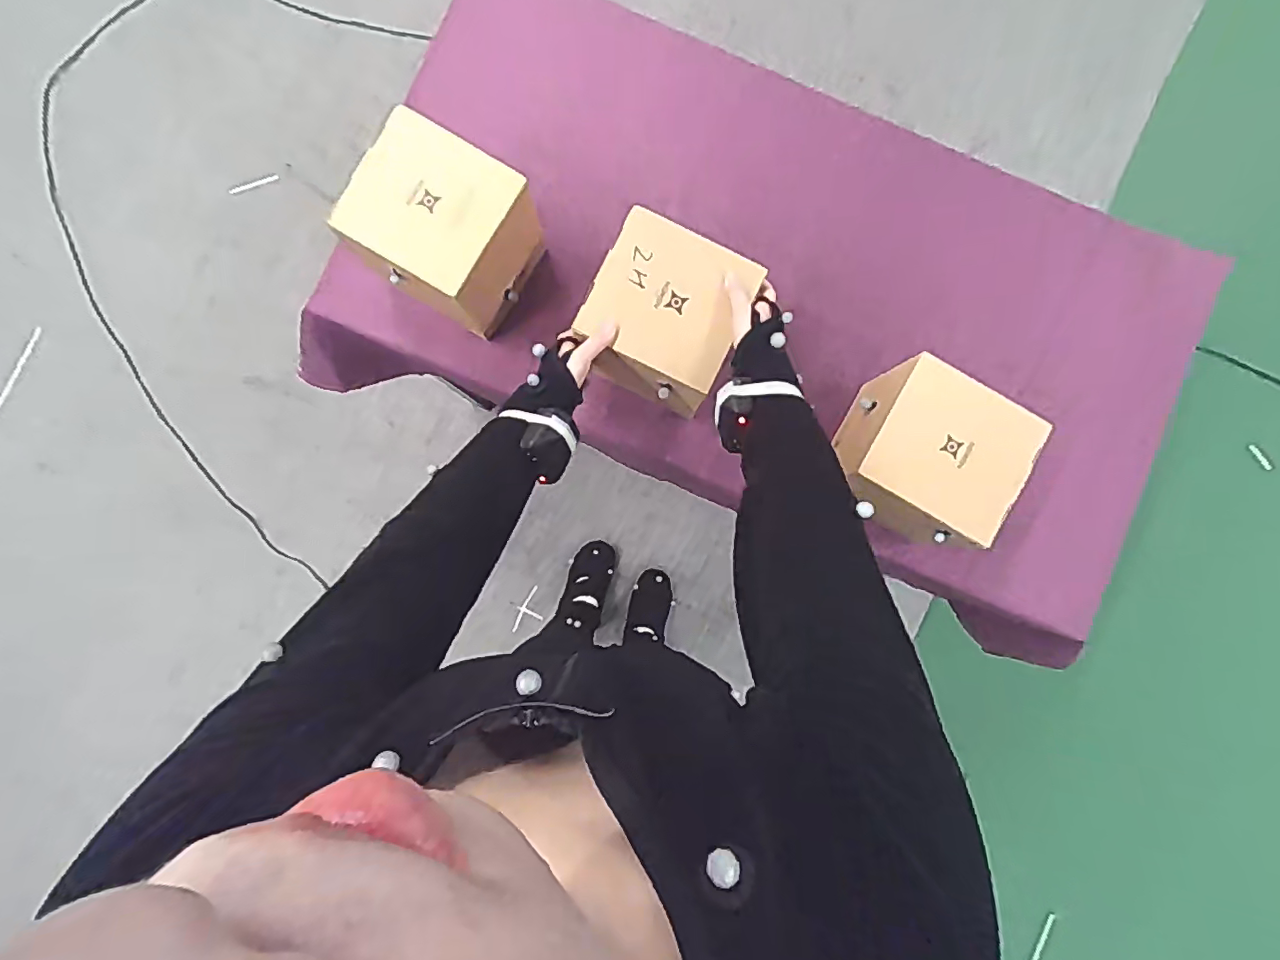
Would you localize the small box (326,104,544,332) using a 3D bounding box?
[{"bbox_3d":[-0.247,-0.318,0.698,0.179,0.176,0.168,31,87,0],"label":"small box"}]

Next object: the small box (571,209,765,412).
[{"bbox_3d":[0.031,-0.201,0.700,0.179,0.176,0.168,27,86,0],"label":"small box"}]

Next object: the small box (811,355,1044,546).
[{"bbox_3d":[0.353,-0.029,0.701,0.179,0.176,0.168,31,87,0],"label":"small box"}]
